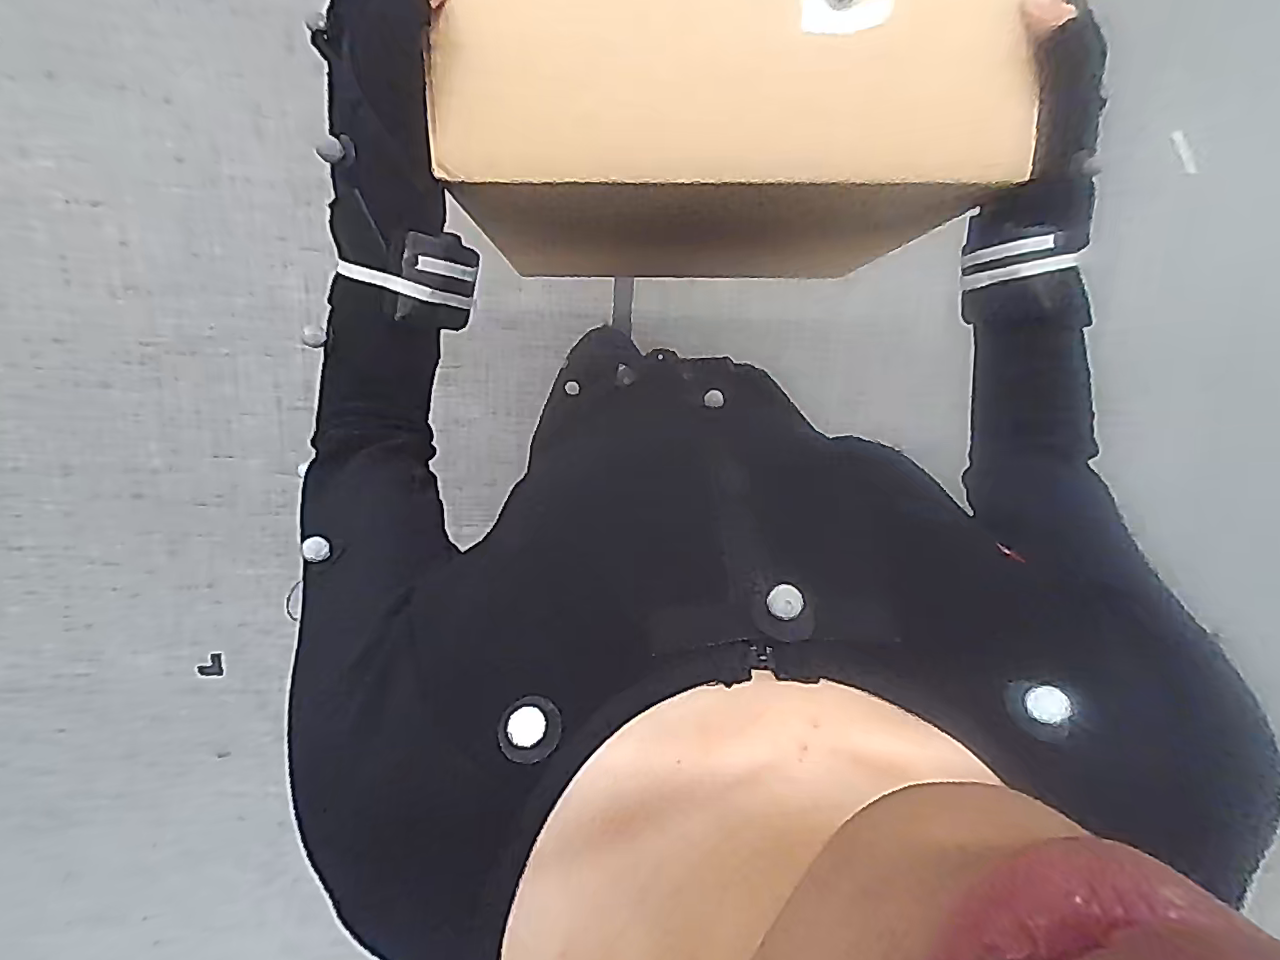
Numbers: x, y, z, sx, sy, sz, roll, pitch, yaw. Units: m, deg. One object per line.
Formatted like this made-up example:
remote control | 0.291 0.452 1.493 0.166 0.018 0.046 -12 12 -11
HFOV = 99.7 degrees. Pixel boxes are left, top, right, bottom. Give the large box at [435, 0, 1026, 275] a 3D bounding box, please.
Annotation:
large box | 0.054 -0.388 0.499 0.408 0.320 0.320 -1 99 -2
